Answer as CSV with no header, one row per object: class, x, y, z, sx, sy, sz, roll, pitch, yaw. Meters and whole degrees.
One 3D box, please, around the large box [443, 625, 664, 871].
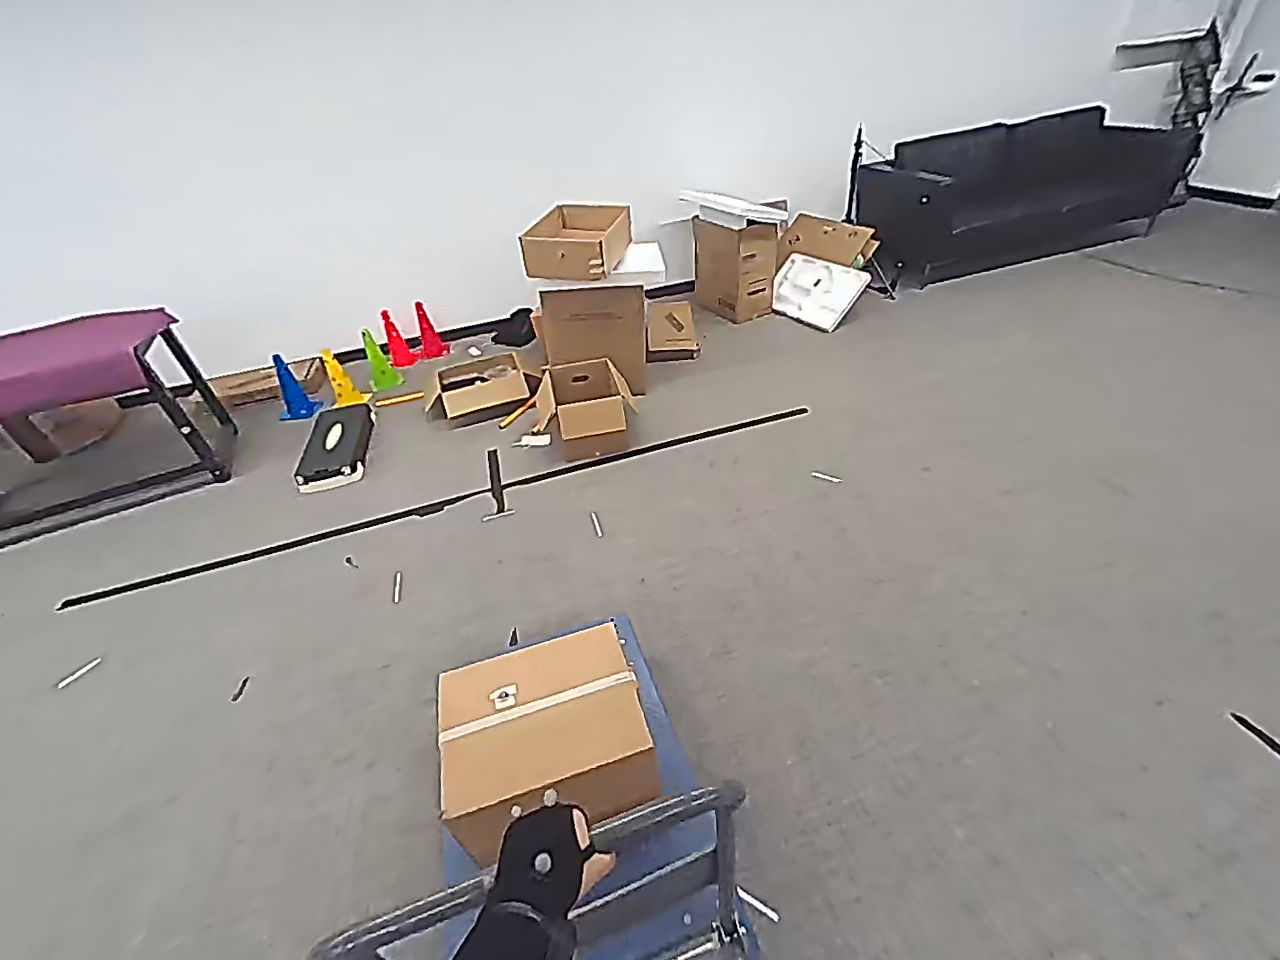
large box,-0.191,0.596,1.223,0.408,0.320,0.320,-16,38,-10
